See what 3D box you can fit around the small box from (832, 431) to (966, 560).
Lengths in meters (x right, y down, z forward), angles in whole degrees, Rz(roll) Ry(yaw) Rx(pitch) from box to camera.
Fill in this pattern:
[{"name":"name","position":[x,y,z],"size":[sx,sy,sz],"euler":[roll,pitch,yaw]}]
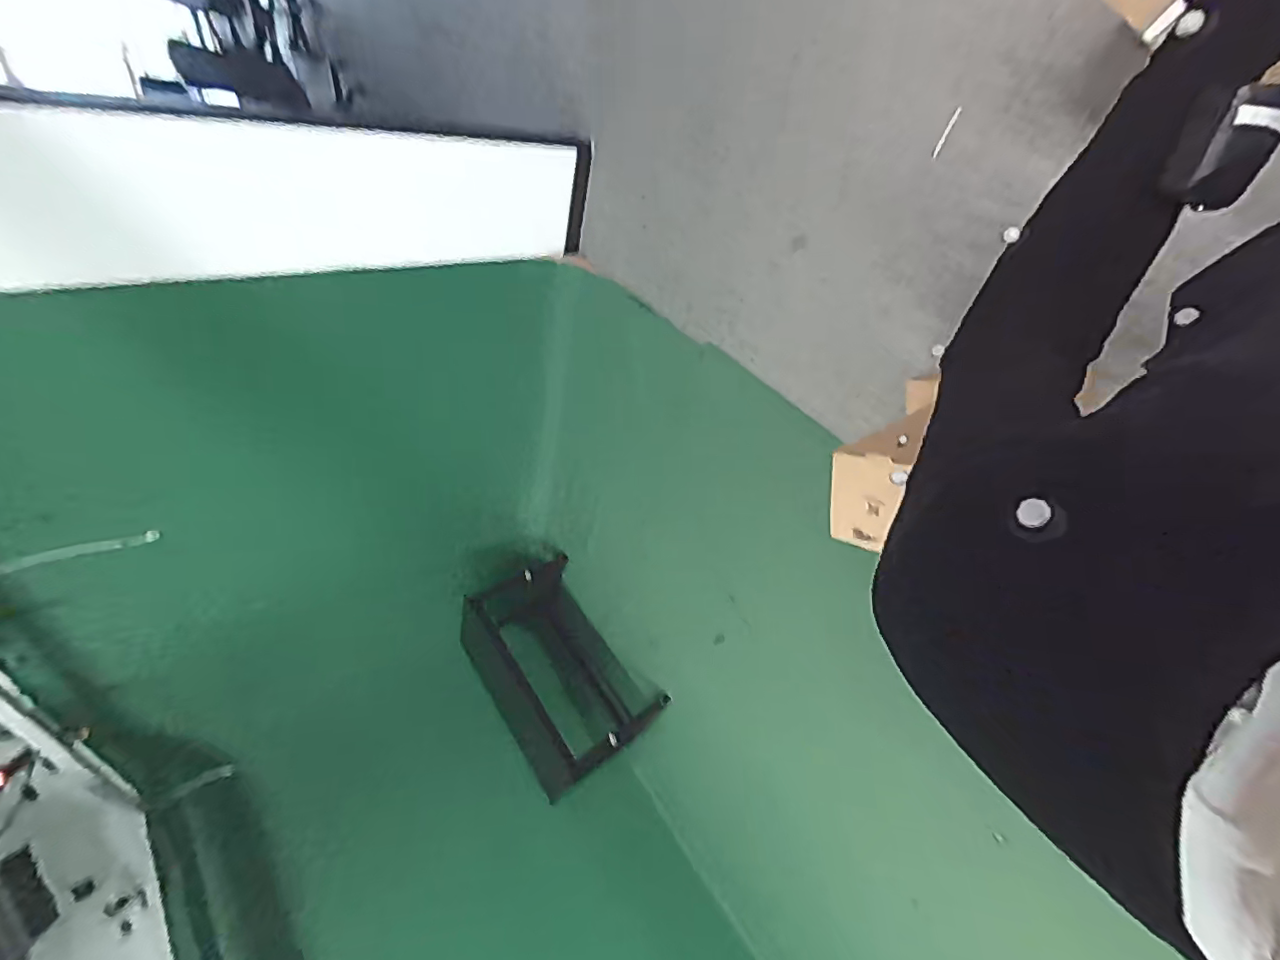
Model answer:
[{"name":"small box","position":[0.475,0.017,0.994],"size":[0.168,0.176,0.179],"euler":[18,120,47]}]
